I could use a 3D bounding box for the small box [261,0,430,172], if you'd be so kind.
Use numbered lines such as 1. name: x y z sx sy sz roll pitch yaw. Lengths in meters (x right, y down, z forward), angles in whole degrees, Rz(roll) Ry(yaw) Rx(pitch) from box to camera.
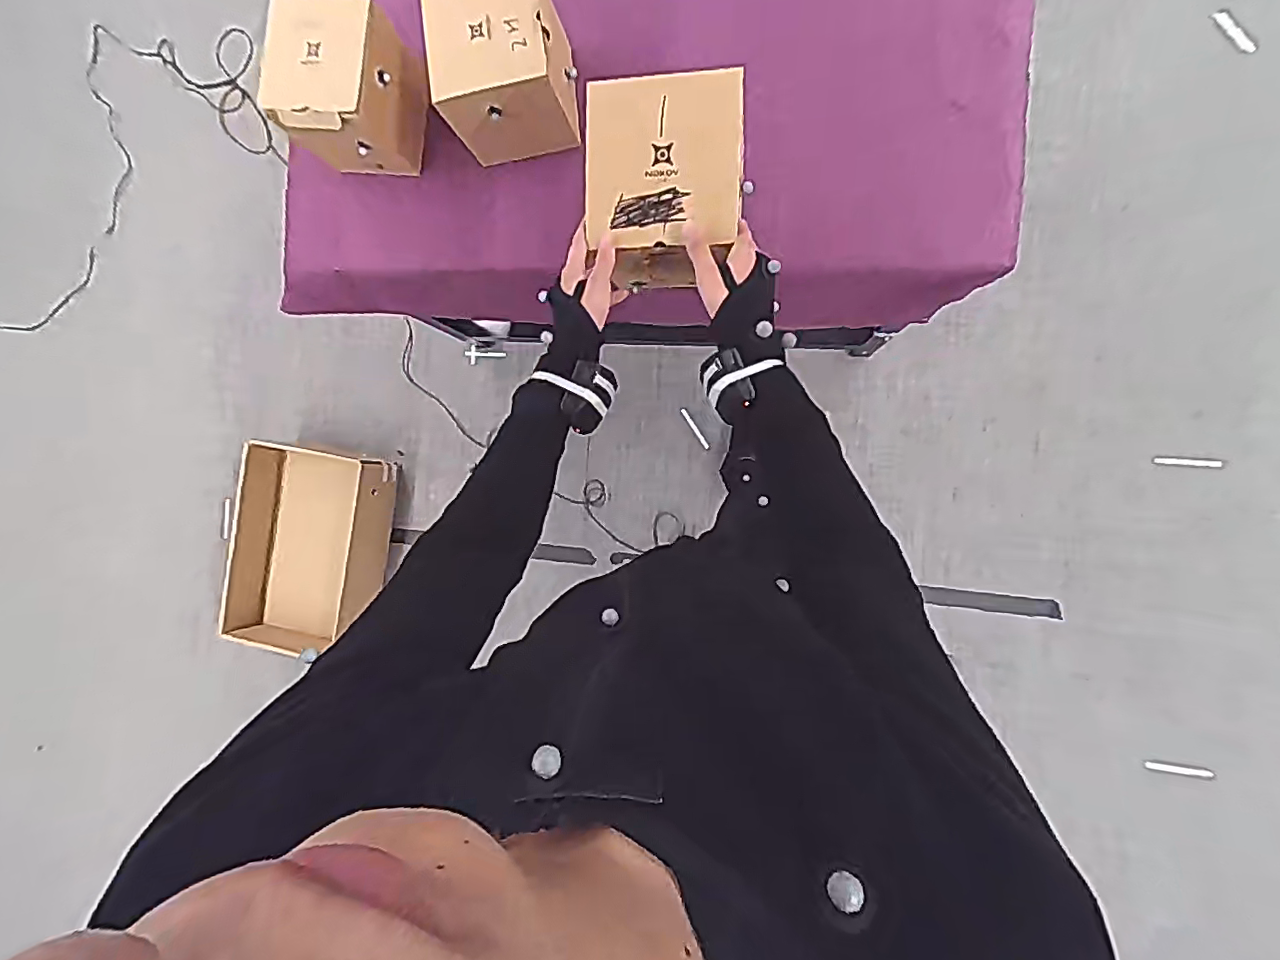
1. small box: -0.460 -0.625 0.867 0.168 0.176 0.179 8 92 8

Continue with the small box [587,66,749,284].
1. small box: 0.040 -0.336 0.637 0.168 0.176 0.179 2 96 10

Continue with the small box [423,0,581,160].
1. small box: -0.202 -0.623 0.825 0.179 0.176 0.168 -6 90 9
